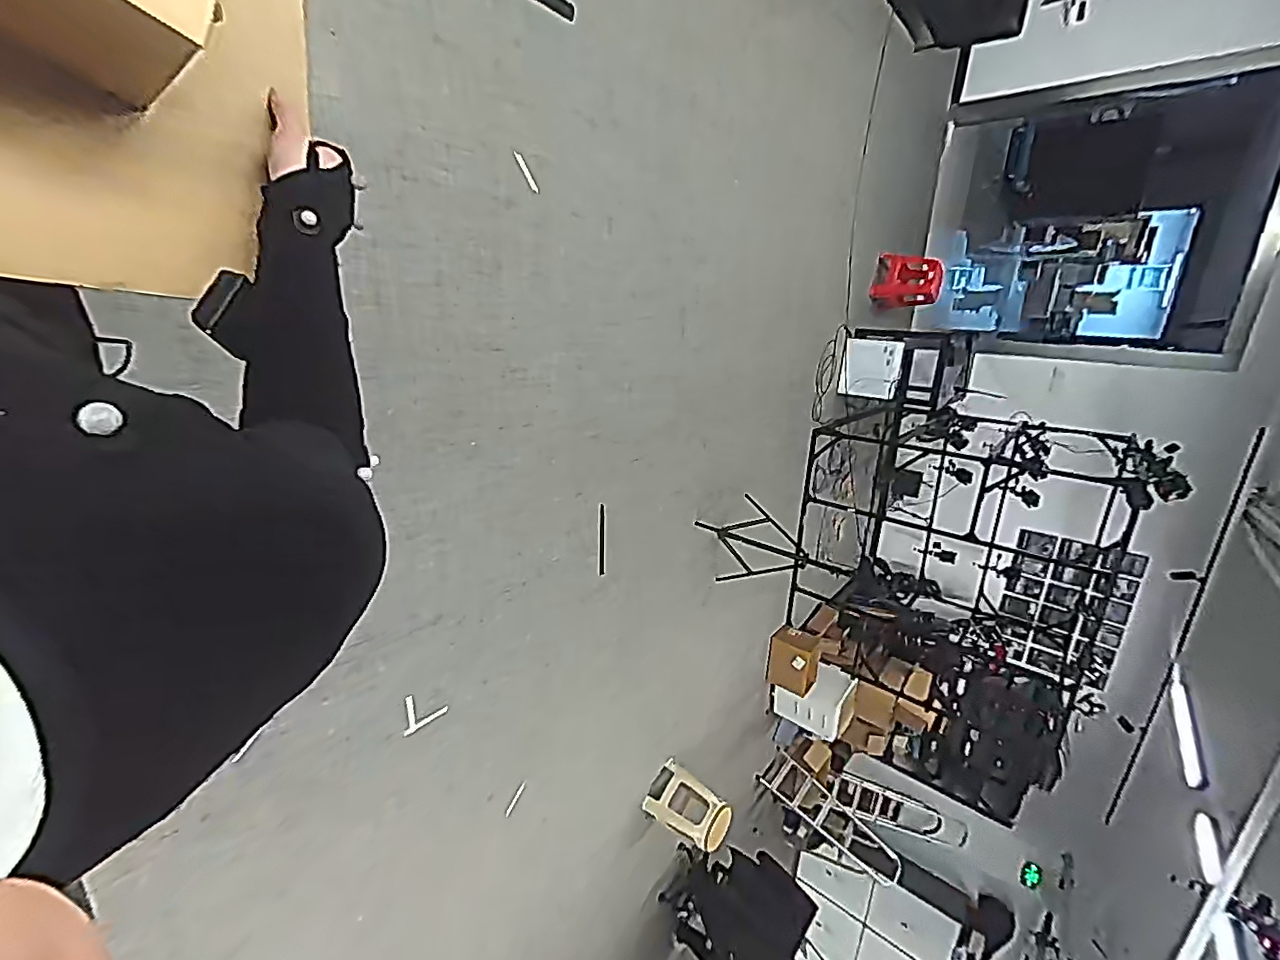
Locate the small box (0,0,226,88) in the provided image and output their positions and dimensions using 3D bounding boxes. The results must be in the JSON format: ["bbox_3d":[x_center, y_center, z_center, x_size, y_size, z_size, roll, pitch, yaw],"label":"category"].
[{"bbox_3d":[-0.372,-0.383,0.331,0.179,0.176,0.168,12,91,-52],"label":"small box"}]
